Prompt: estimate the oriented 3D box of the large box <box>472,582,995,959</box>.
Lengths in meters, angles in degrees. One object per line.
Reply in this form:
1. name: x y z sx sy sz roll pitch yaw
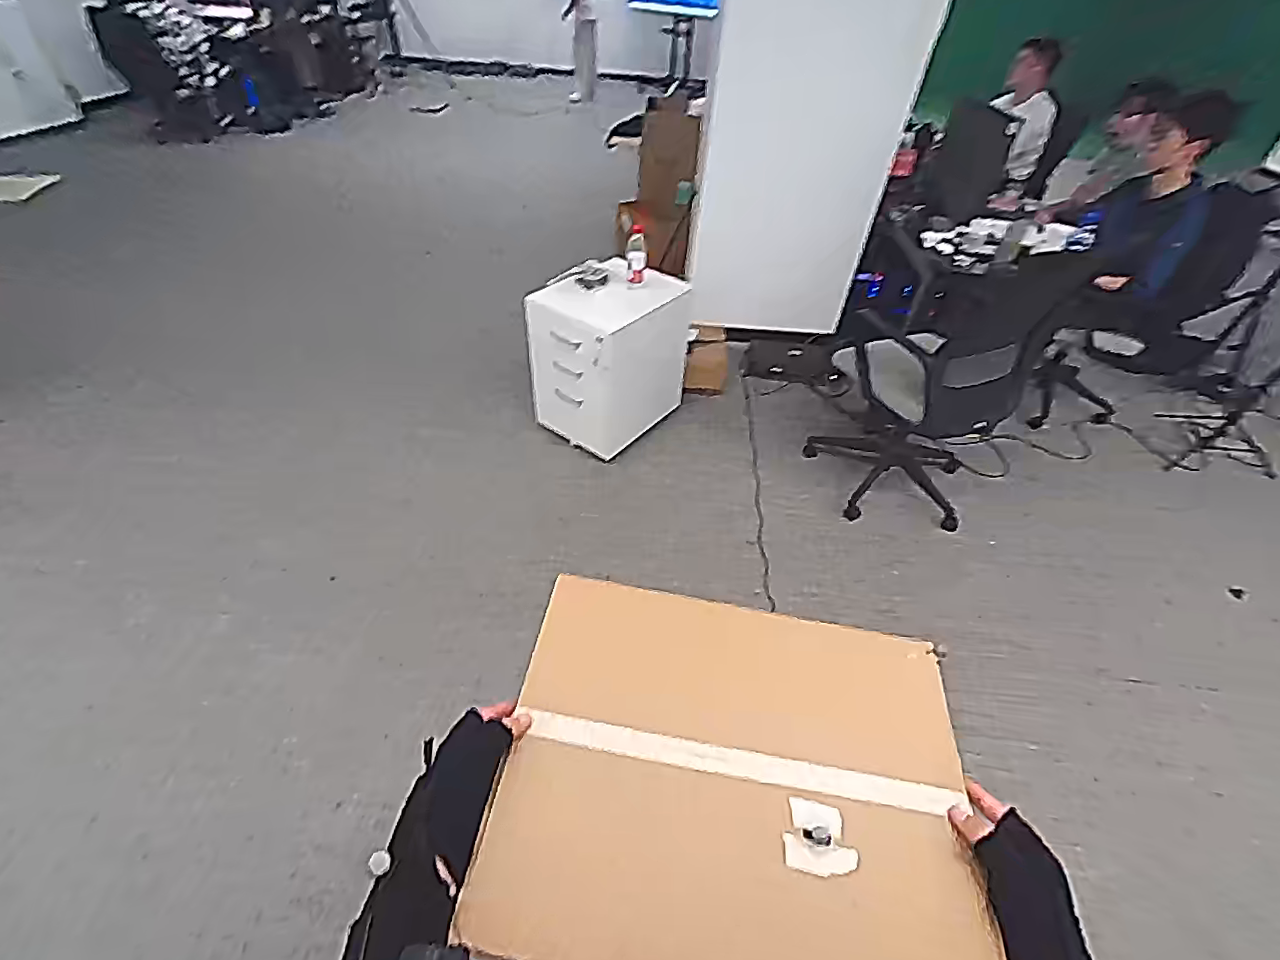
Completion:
1. large box: 0.074 0.352 0.597 0.408 0.320 0.320 10 48 2
